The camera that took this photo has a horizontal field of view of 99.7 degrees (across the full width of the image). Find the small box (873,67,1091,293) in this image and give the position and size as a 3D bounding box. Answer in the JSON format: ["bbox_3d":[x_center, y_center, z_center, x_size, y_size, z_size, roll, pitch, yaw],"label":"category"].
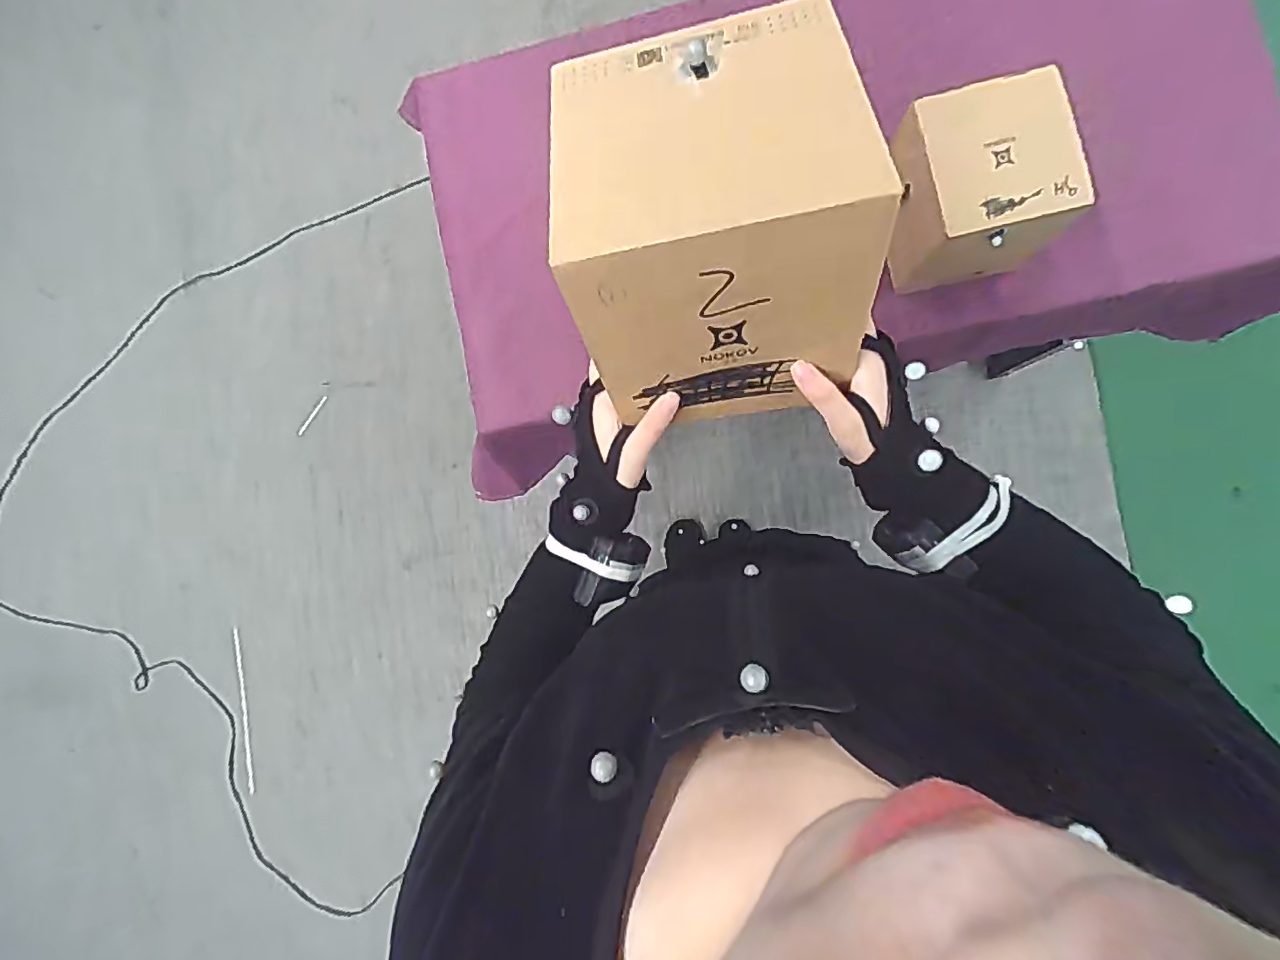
[{"bbox_3d":[0.424,-0.373,0.704,0.168,0.176,0.179,-12,84,7],"label":"small box"}]
